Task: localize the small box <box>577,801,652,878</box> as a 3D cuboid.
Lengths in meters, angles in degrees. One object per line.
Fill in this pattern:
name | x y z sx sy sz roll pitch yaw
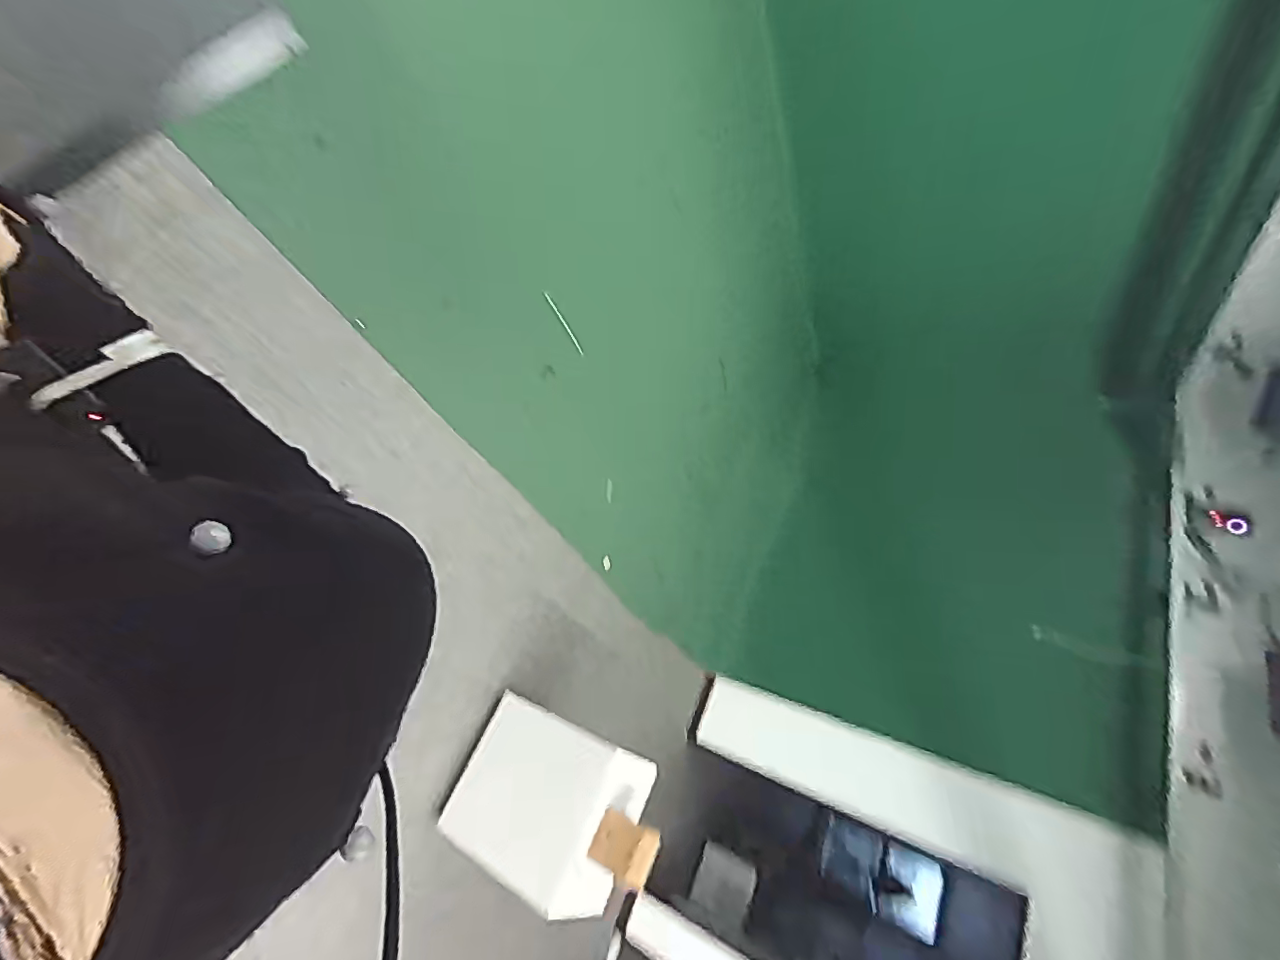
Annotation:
small box | -0.086 1.236 1.863 0.168 0.176 0.179 -62 145 -26
